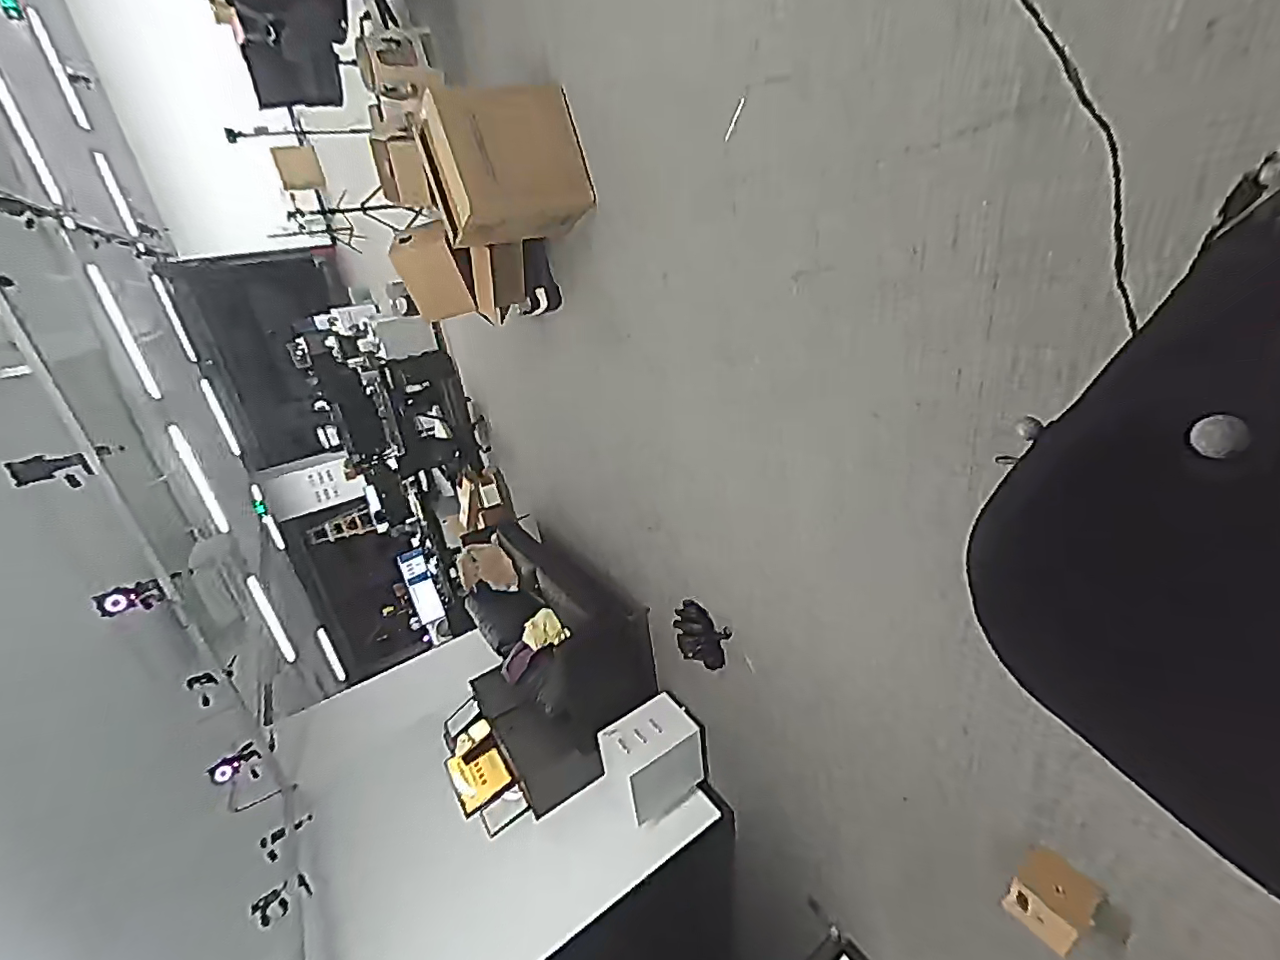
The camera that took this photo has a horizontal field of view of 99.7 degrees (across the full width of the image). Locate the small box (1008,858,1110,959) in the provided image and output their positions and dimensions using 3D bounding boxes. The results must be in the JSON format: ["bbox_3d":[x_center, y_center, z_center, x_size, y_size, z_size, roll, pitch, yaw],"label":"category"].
[{"bbox_3d":[1.275,1.302,1.648,0.179,0.176,0.168,32,135,47],"label":"small box"}]
